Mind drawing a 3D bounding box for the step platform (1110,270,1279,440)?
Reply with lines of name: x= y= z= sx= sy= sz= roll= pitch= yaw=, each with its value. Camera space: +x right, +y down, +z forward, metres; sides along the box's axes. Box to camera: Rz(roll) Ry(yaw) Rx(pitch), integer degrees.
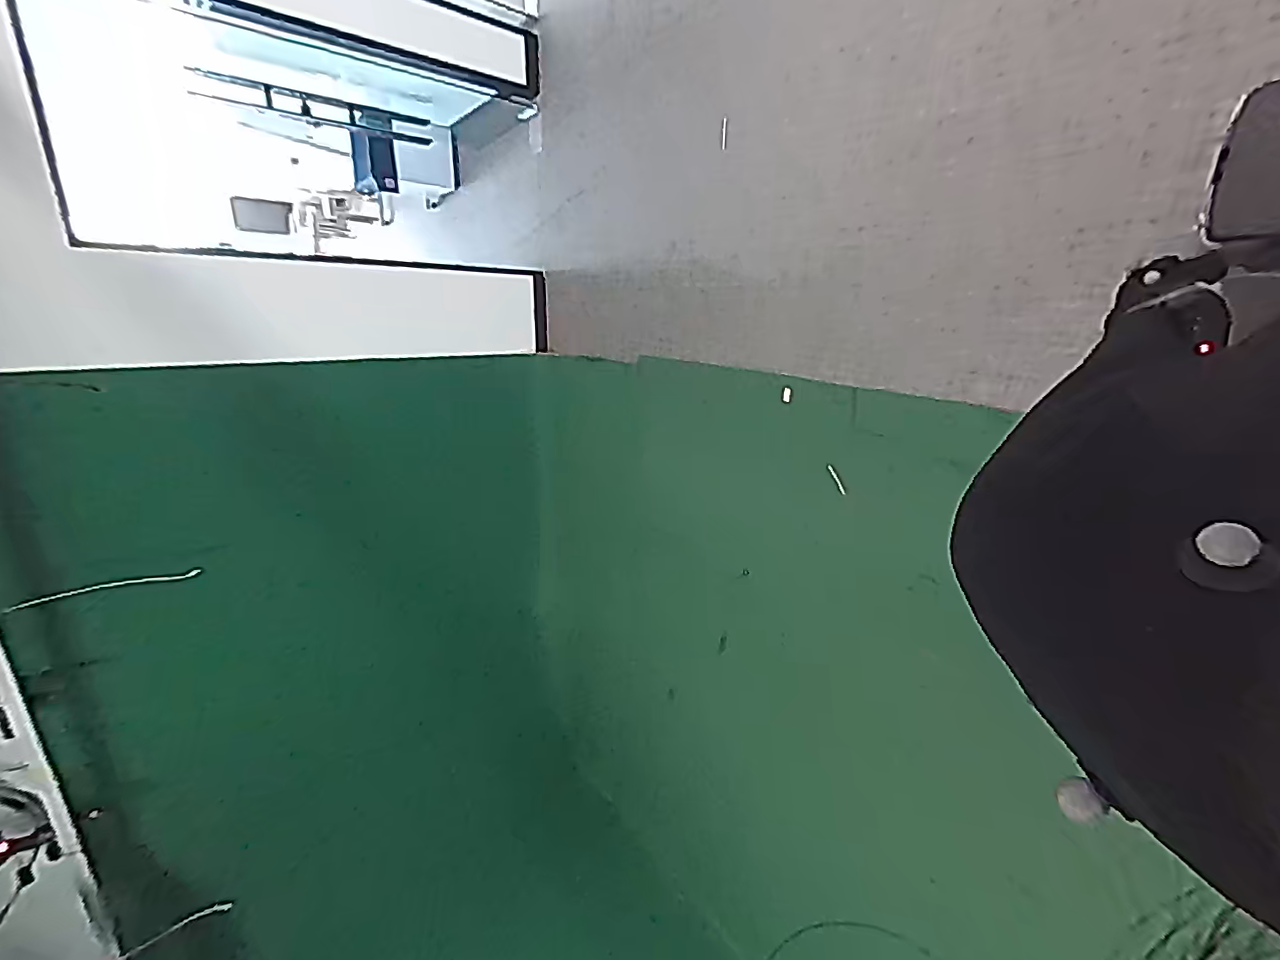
step platform: x=1.171 y=-0.168 z=0.804 sx=0.684 sy=0.204 sz=0.286 roll=21 pitch=115 yaw=47
